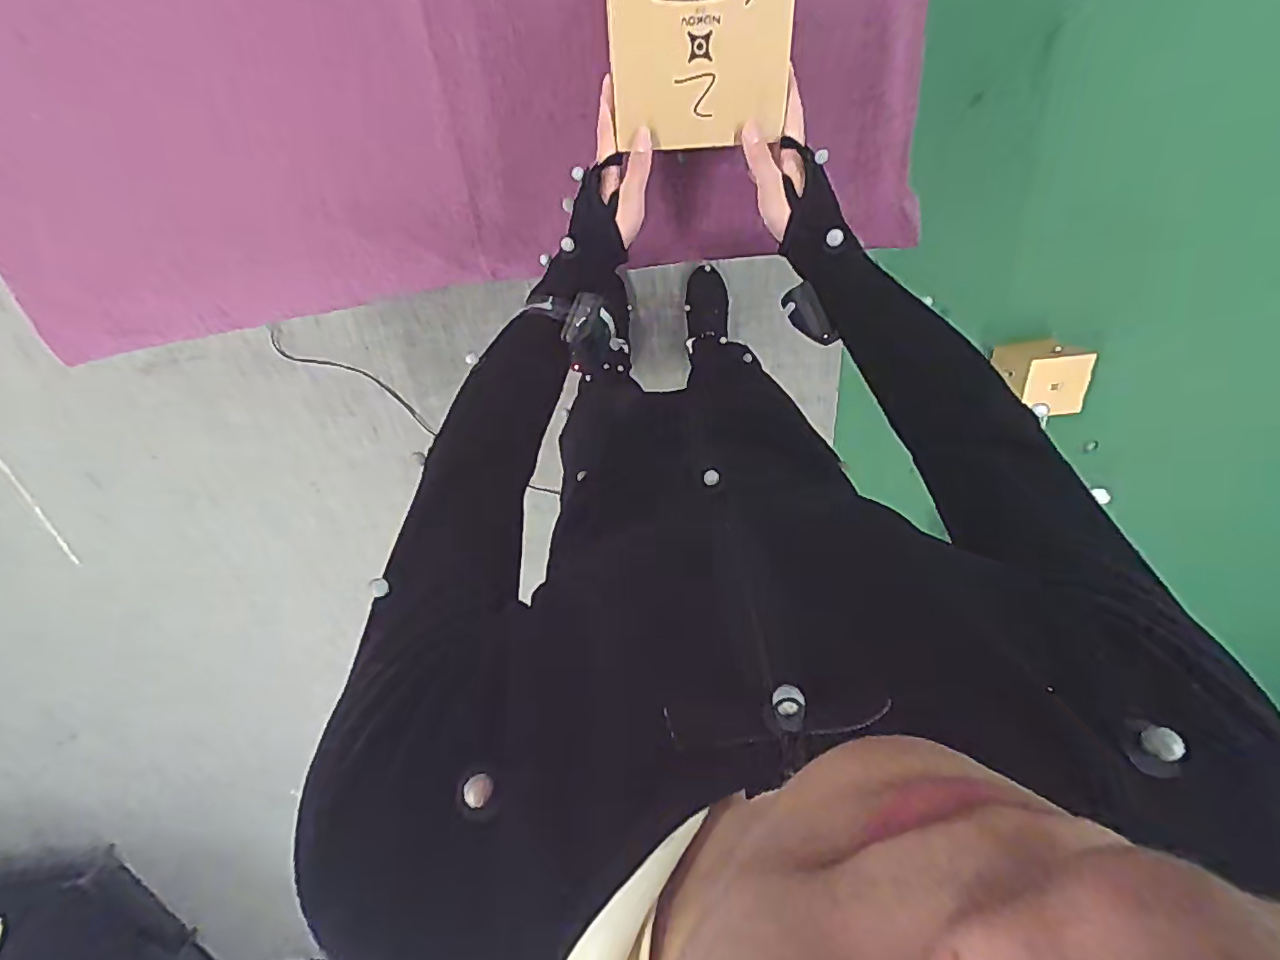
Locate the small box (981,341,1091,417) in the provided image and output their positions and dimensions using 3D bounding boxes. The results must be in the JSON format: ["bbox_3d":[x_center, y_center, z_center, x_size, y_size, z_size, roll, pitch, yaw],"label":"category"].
[{"bbox_3d":[1.108,-0.289,1.532,0.179,0.176,0.168,-6,117,-1],"label":"small box"}]
